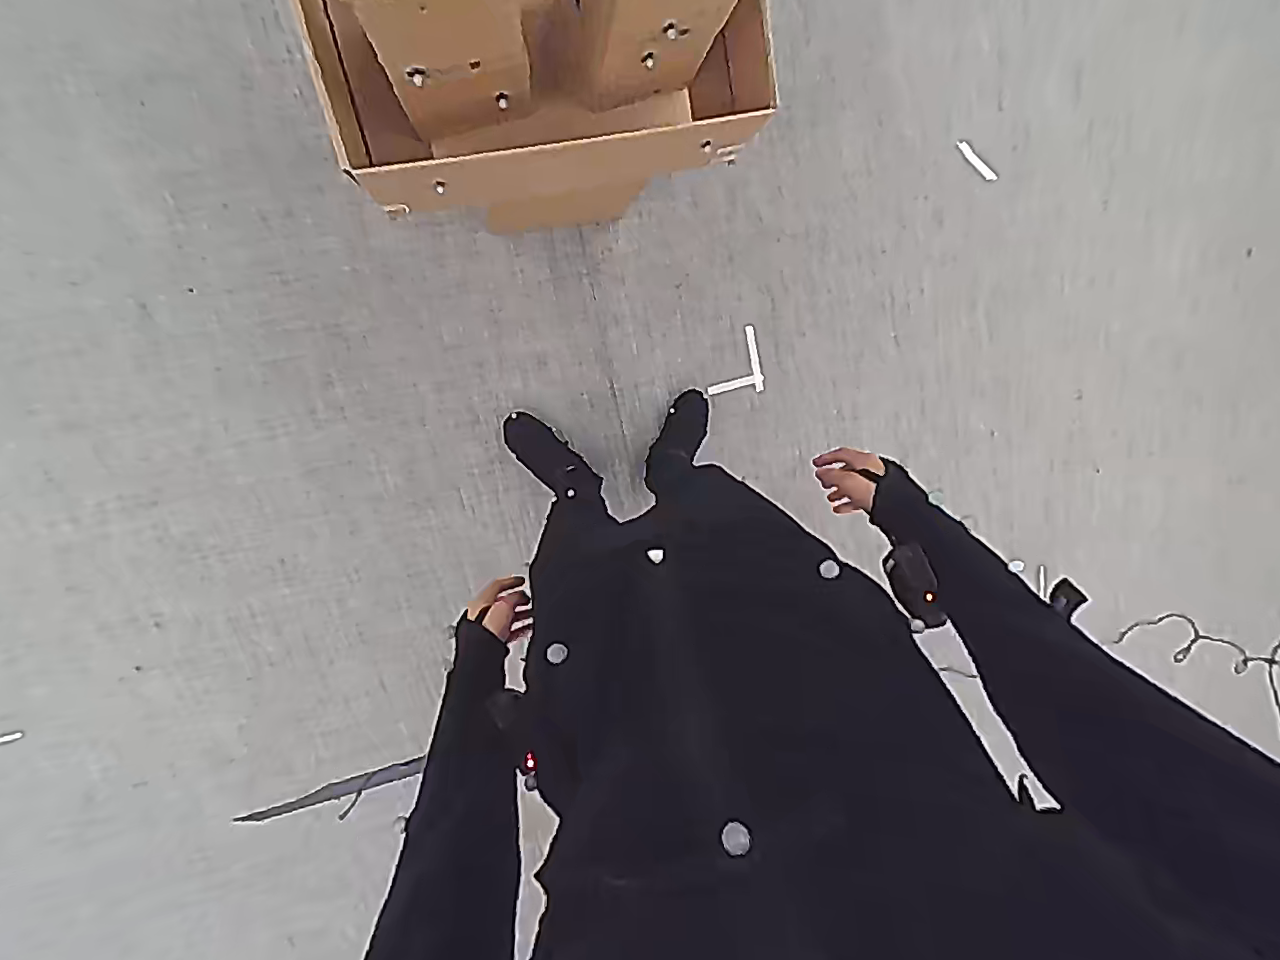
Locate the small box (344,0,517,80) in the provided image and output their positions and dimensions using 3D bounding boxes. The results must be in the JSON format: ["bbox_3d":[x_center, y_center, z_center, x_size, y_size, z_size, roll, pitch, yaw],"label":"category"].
[{"bbox_3d":[-0.236,-0.568,0.579,0.168,0.176,0.179,-17,103,-7],"label":"small box"}]
